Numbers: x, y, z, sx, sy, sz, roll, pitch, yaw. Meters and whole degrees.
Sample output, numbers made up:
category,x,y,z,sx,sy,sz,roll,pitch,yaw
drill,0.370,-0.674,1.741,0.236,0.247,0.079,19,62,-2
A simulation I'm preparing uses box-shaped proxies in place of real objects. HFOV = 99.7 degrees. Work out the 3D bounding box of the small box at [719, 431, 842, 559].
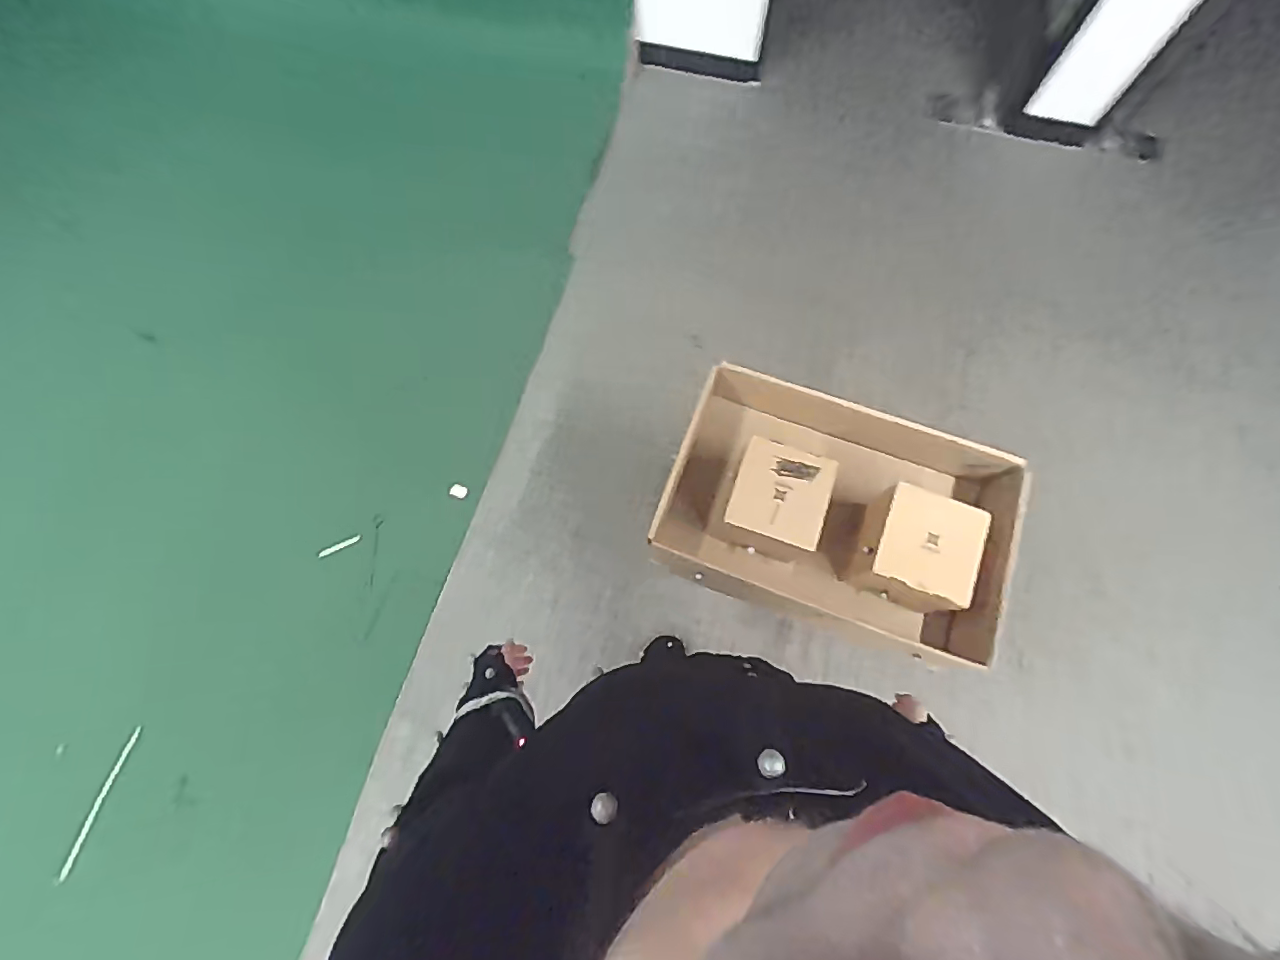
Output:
category,x,y,z,sx,sy,sz,roll,pitch,yaw
small box,0.256,0.036,1.025,0.168,0.176,0.179,19,76,7
